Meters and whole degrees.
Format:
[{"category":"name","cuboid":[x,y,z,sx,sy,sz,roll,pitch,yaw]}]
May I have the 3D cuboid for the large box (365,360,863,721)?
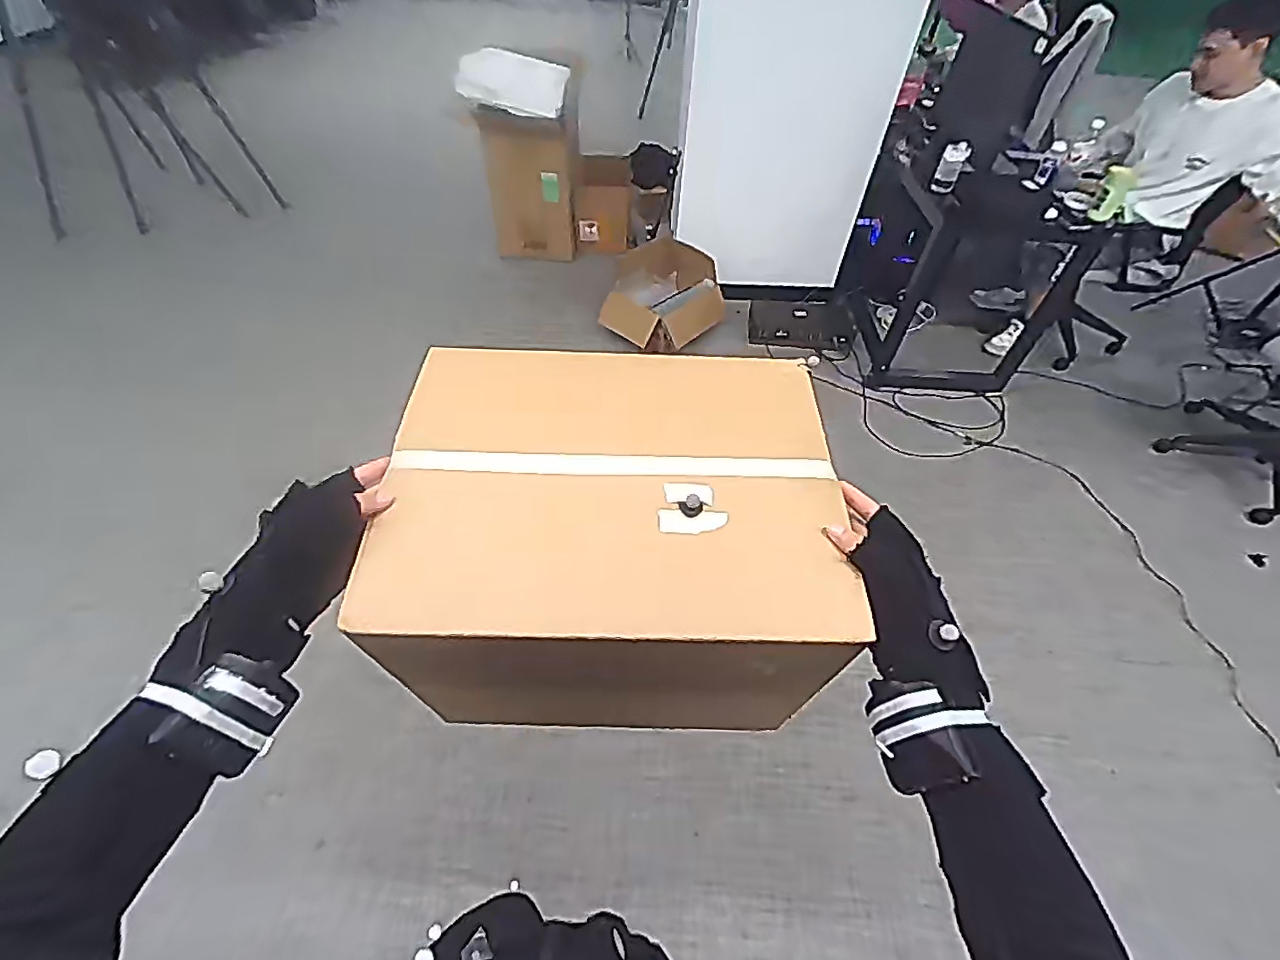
[{"category":"large box","cuboid":[-0.026,0.084,0.631,0.408,0.320,0.320,2,54,-2]}]
